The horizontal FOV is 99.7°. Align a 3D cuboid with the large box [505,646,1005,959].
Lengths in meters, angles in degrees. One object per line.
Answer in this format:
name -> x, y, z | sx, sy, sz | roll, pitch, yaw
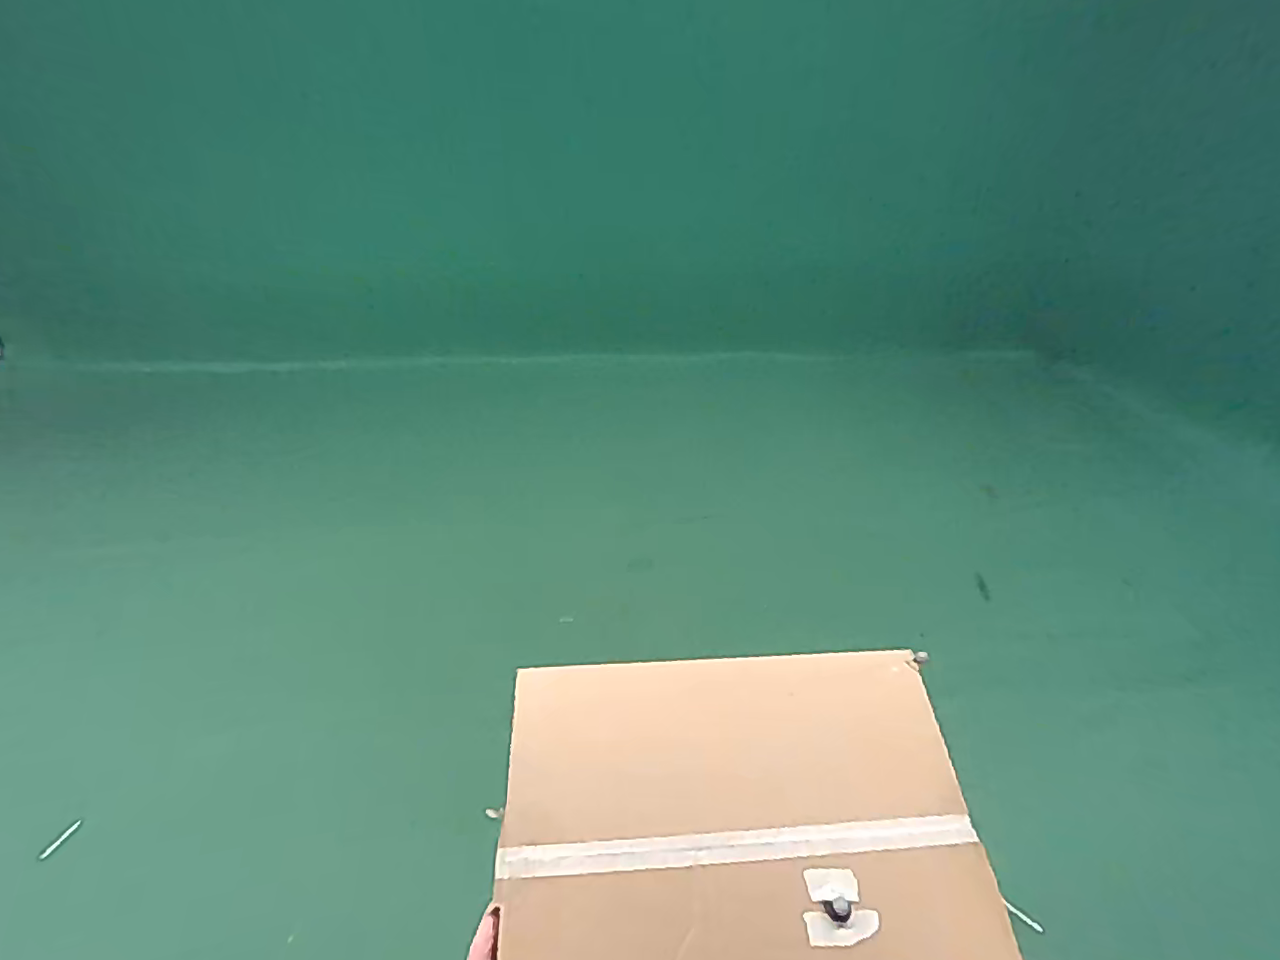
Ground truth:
large box -> 0.080, 0.396, 0.593 | 0.408, 0.320, 0.320 | -2, 55, -4
